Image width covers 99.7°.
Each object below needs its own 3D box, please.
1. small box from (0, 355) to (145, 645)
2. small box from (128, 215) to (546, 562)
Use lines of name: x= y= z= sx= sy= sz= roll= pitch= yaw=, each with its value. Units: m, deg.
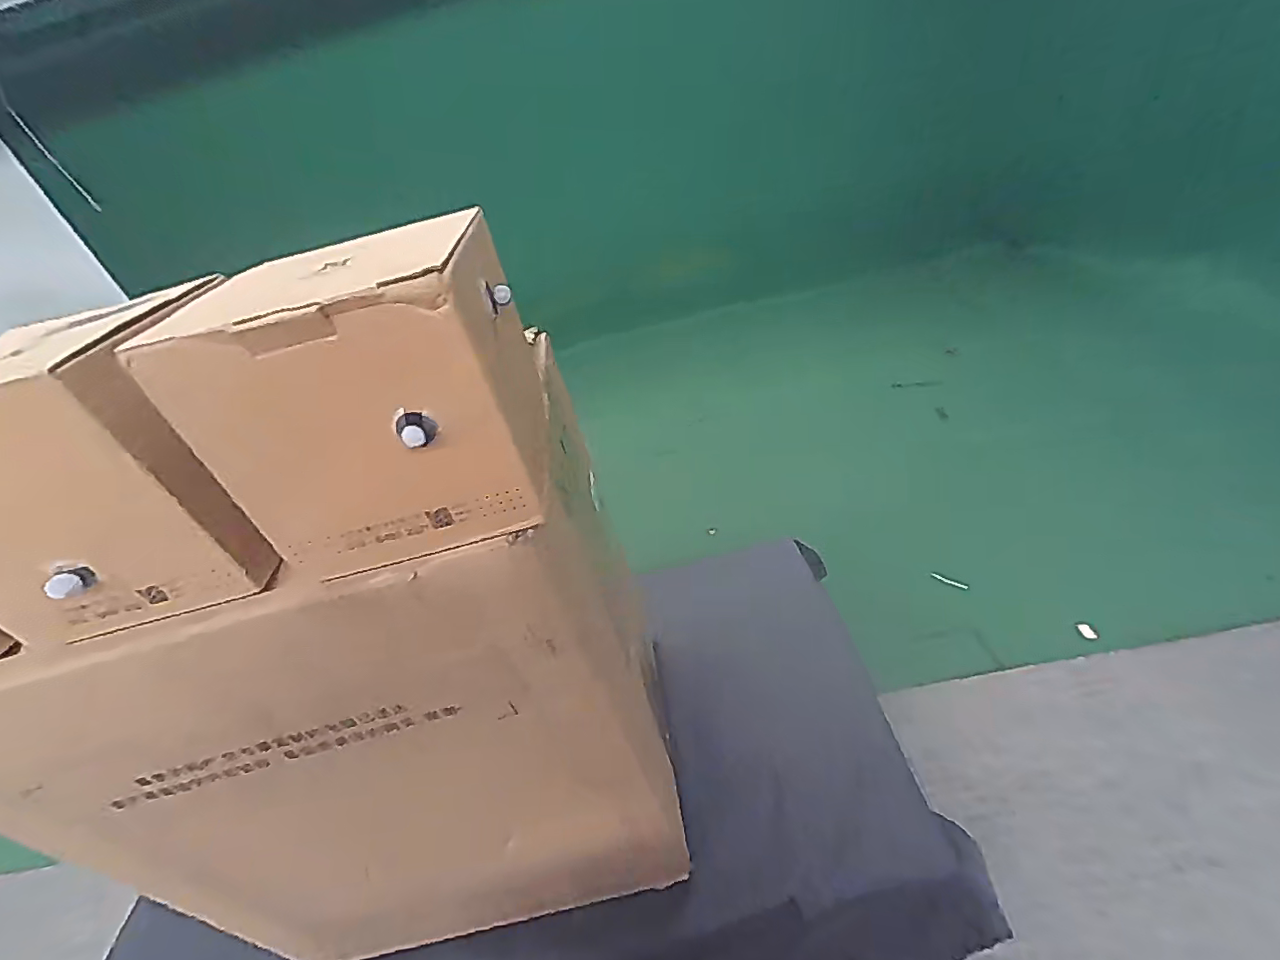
small box: x=-0.538 y=0.026 z=0.396 sx=0.168 sy=0.176 sz=0.179 roll=-15 pitch=37 yaw=3
small box: x=-0.166 y=-0.062 z=0.375 sx=0.168 sy=0.176 sz=0.179 roll=-13 pitch=35 yaw=-1
